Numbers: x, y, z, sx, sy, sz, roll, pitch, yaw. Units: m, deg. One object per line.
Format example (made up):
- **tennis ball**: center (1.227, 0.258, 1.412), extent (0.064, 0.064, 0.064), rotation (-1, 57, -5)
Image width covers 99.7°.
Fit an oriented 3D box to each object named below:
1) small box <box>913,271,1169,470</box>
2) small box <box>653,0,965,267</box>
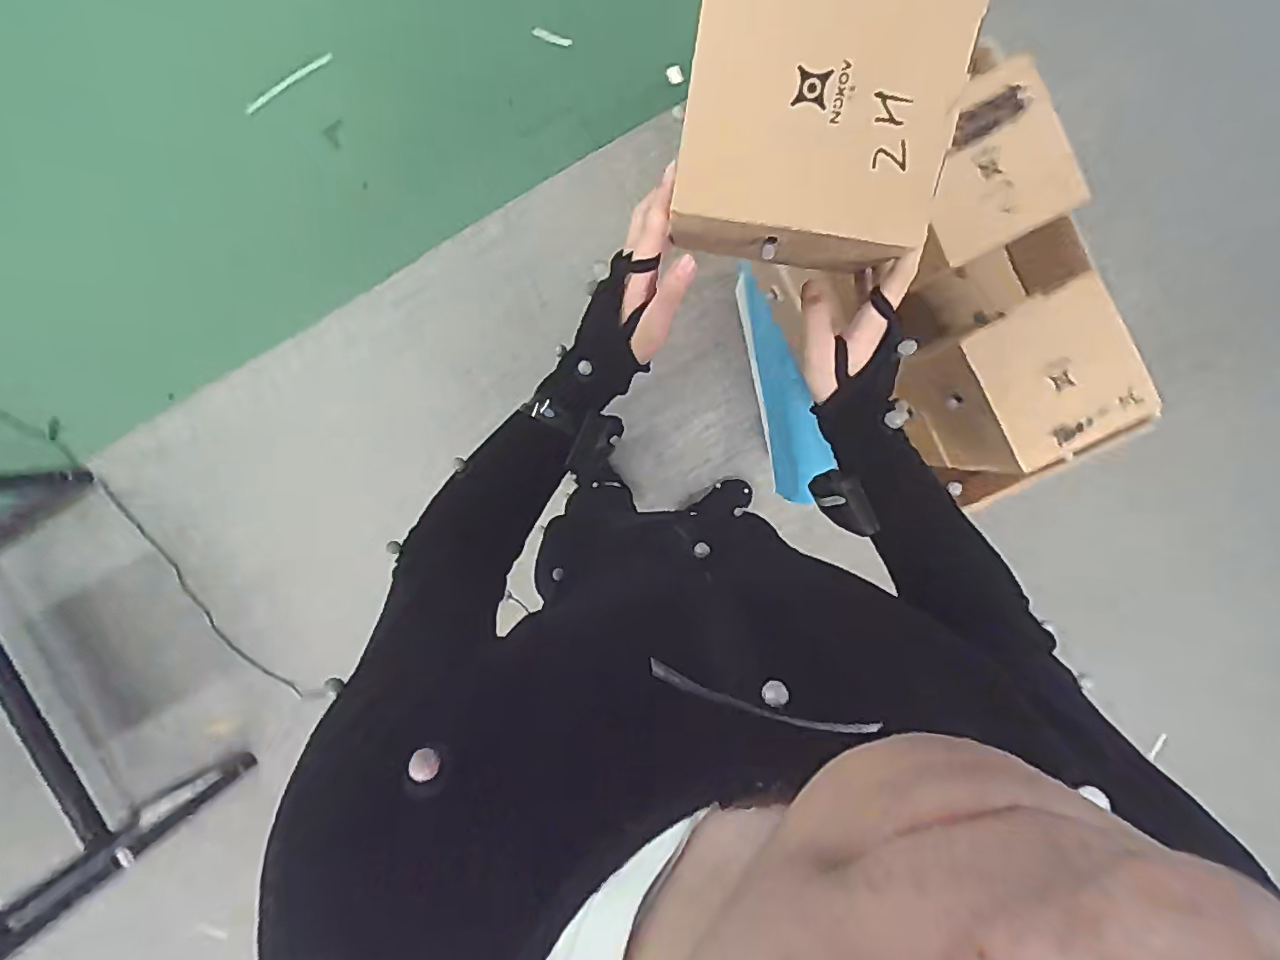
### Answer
- **small box**: center (0.483, -0.124, 0.684), extent (0.168, 0.176, 0.179), rotation (-26, 90, 7)
- **small box**: center (0.113, -0.273, 0.428), extent (0.179, 0.176, 0.168), rotation (9, 106, 3)
